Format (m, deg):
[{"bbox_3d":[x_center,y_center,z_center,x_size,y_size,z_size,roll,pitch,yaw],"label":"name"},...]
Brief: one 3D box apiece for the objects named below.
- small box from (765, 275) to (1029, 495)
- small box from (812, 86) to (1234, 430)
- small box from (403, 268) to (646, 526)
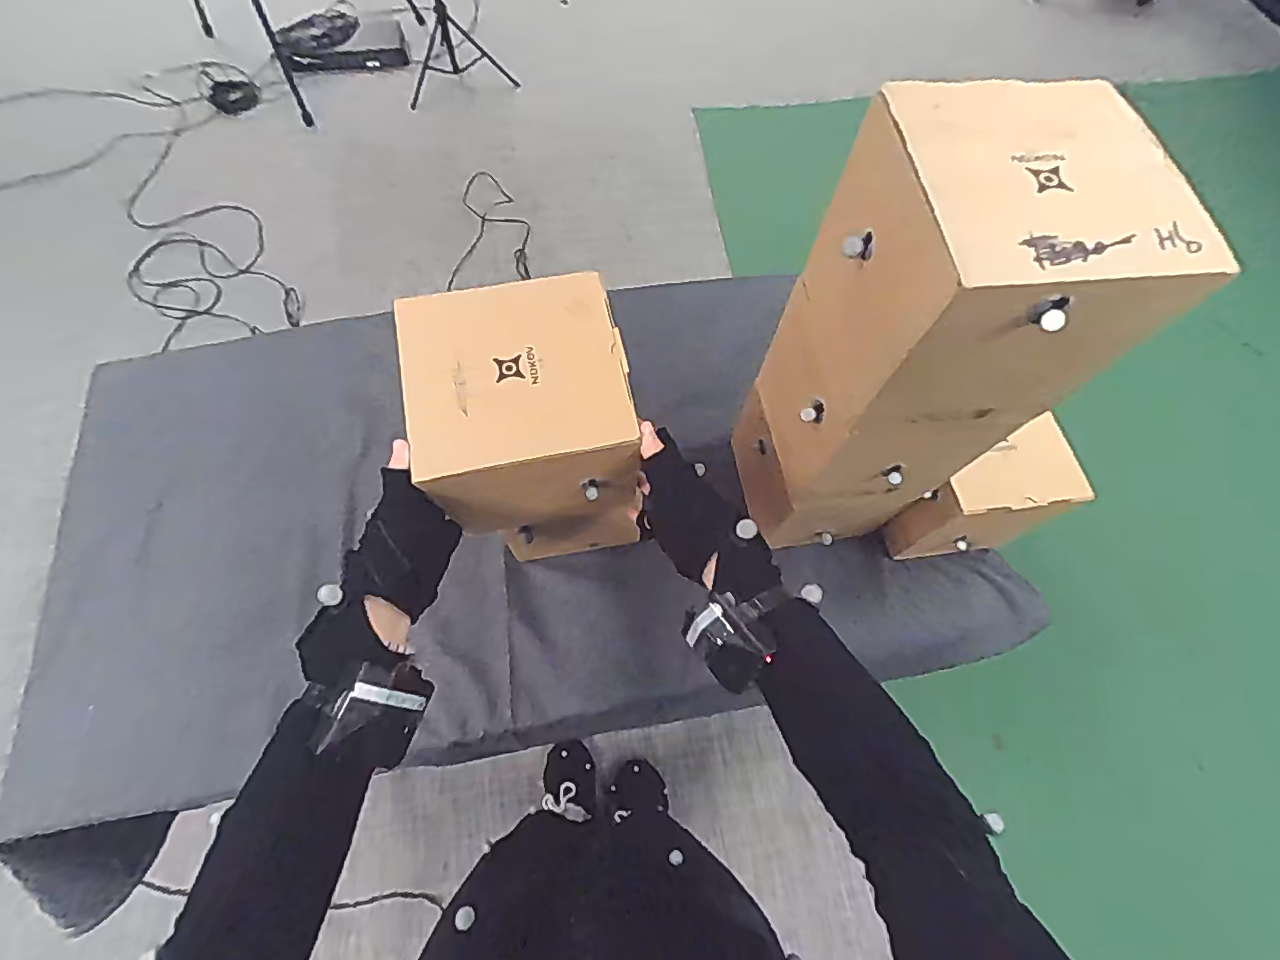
[{"bbox_3d":[0.242,-0.092,0.559,0.168,0.176,0.179,-6,66,-5],"label":"small box"},{"bbox_3d":[0.246,-0.157,0.408,0.168,0.176,0.179,-4,66,-3],"label":"small box"},{"bbox_3d":[-0.099,-0.066,0.506,0.179,0.176,0.168,-11,72,-6],"label":"small box"}]
